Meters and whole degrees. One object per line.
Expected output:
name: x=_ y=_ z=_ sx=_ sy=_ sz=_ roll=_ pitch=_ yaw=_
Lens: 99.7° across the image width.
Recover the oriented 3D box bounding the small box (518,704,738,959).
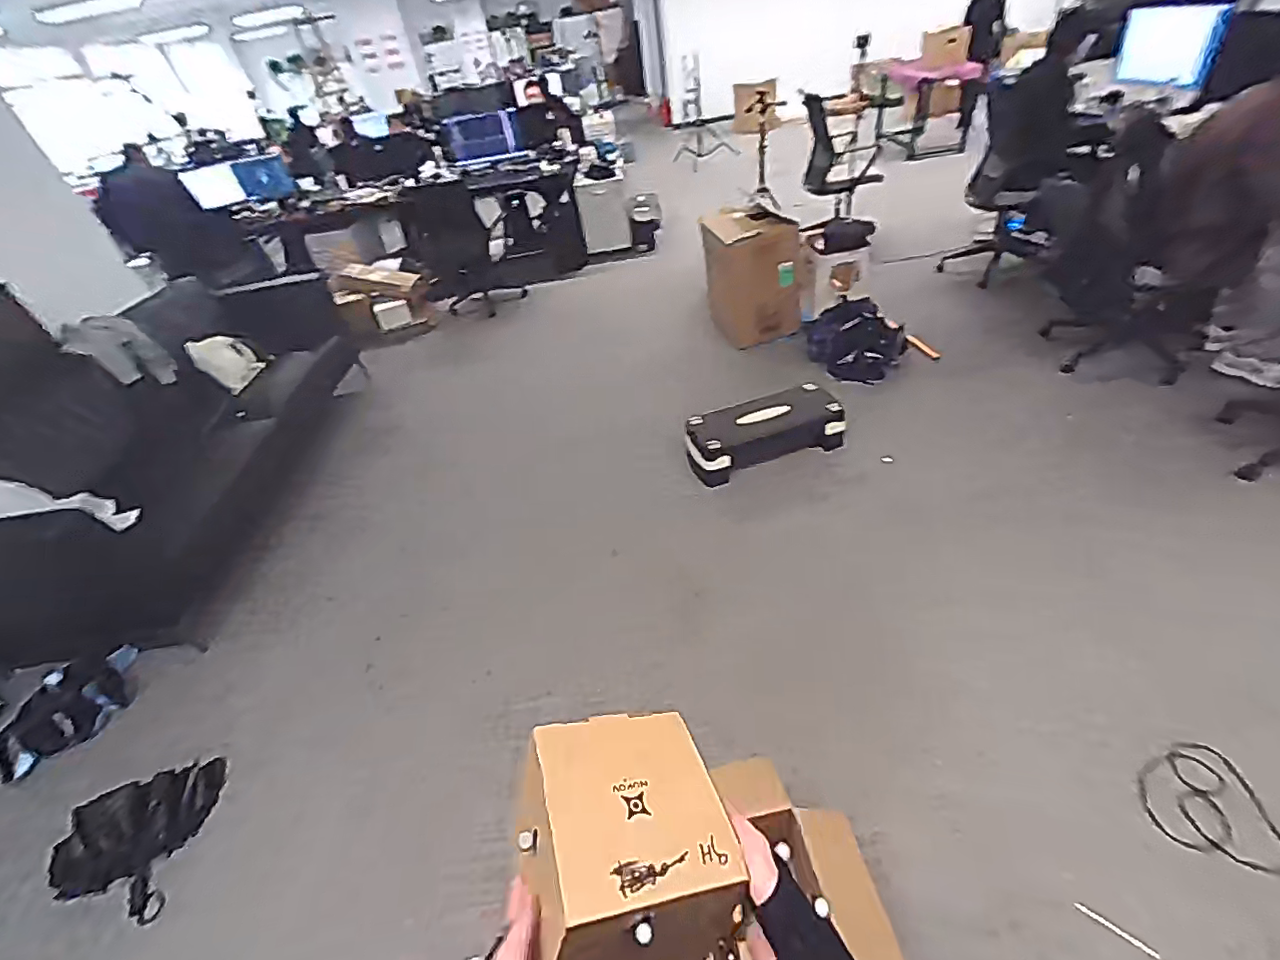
small box: x=-0.028 y=0.360 z=0.541 sx=0.168 sy=0.176 sz=0.179 roll=0 pitch=26 yaw=-19
